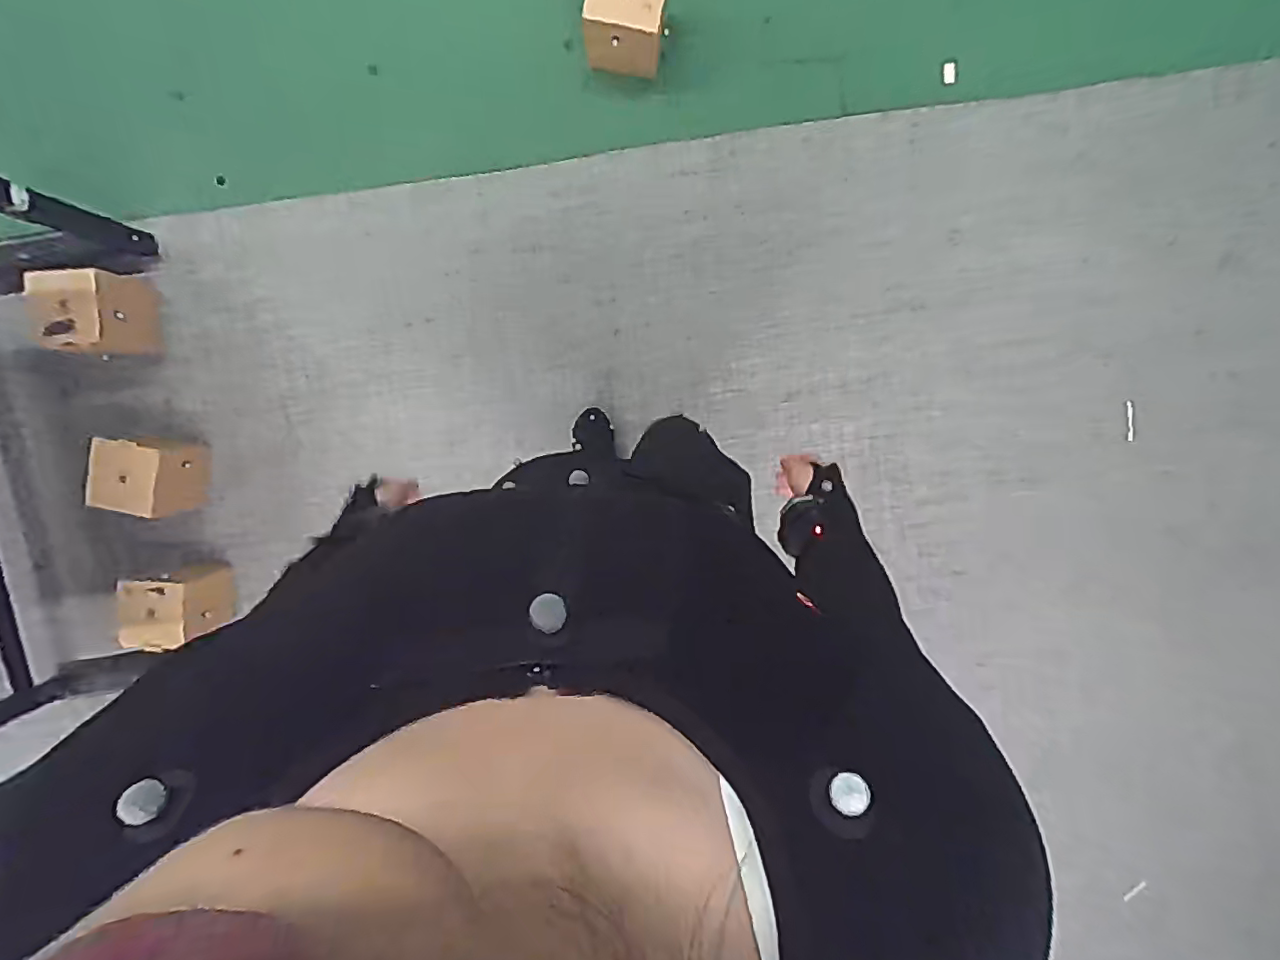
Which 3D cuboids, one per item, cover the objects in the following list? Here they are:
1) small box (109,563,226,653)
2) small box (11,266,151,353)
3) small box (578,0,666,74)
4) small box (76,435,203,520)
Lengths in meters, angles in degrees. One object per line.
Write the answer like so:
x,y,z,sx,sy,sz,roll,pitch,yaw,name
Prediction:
-1.218,0.328,1.407,0.168,0.176,0.179,4,97,-2,small box
-1.348,-0.407,1.319,0.168,0.176,0.179,-3,96,-1,small box
-0.038,-1.098,1.265,0.179,0.176,0.168,11,97,-3,small box
-1.254,-0.014,1.367,0.168,0.176,0.179,12,98,-2,small box
